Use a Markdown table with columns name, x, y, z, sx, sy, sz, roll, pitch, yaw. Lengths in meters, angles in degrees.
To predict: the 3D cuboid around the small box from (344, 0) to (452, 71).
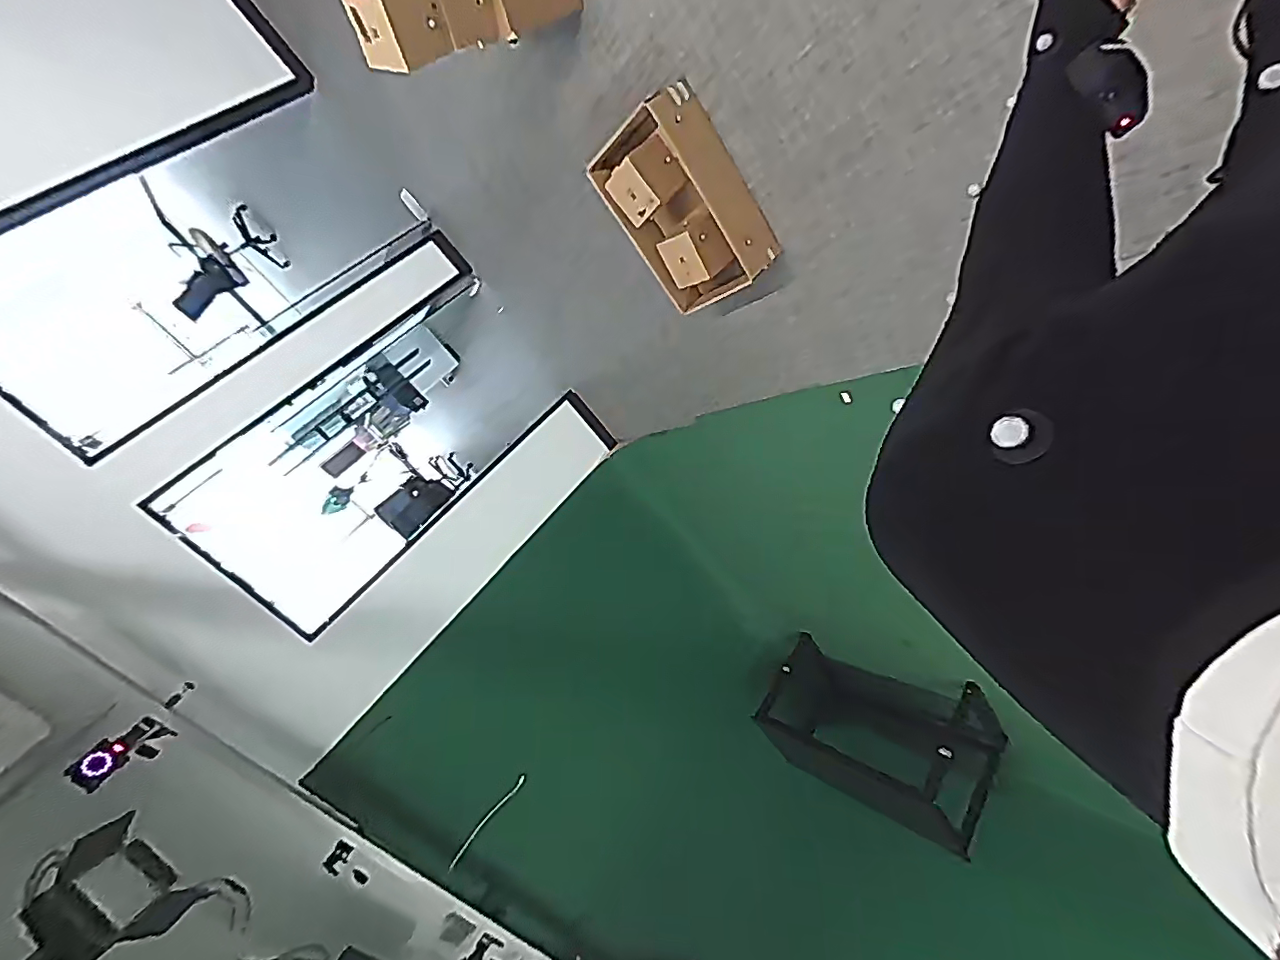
| name | x | y | z | sx | sy | sz | roll | pitch | yaw |
| --- | --- | --- | --- | --- | --- | --- | --- | --- | --- |
| small box | -0.630 | -1.207 | 1.412 | 0.179 | 0.176 | 0.168 | 28 | 153 | 25 |

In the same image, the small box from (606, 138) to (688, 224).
| name | x | y | z | sx | sy | sz | roll | pitch | yaw |
| --- | --- | --- | --- | --- | --- | --- | --- | --- | --- |
| small box | 0.025 | -1.009 | 1.814 | 0.179 | 0.176 | 0.168 | 48 | 155 | -16 |
